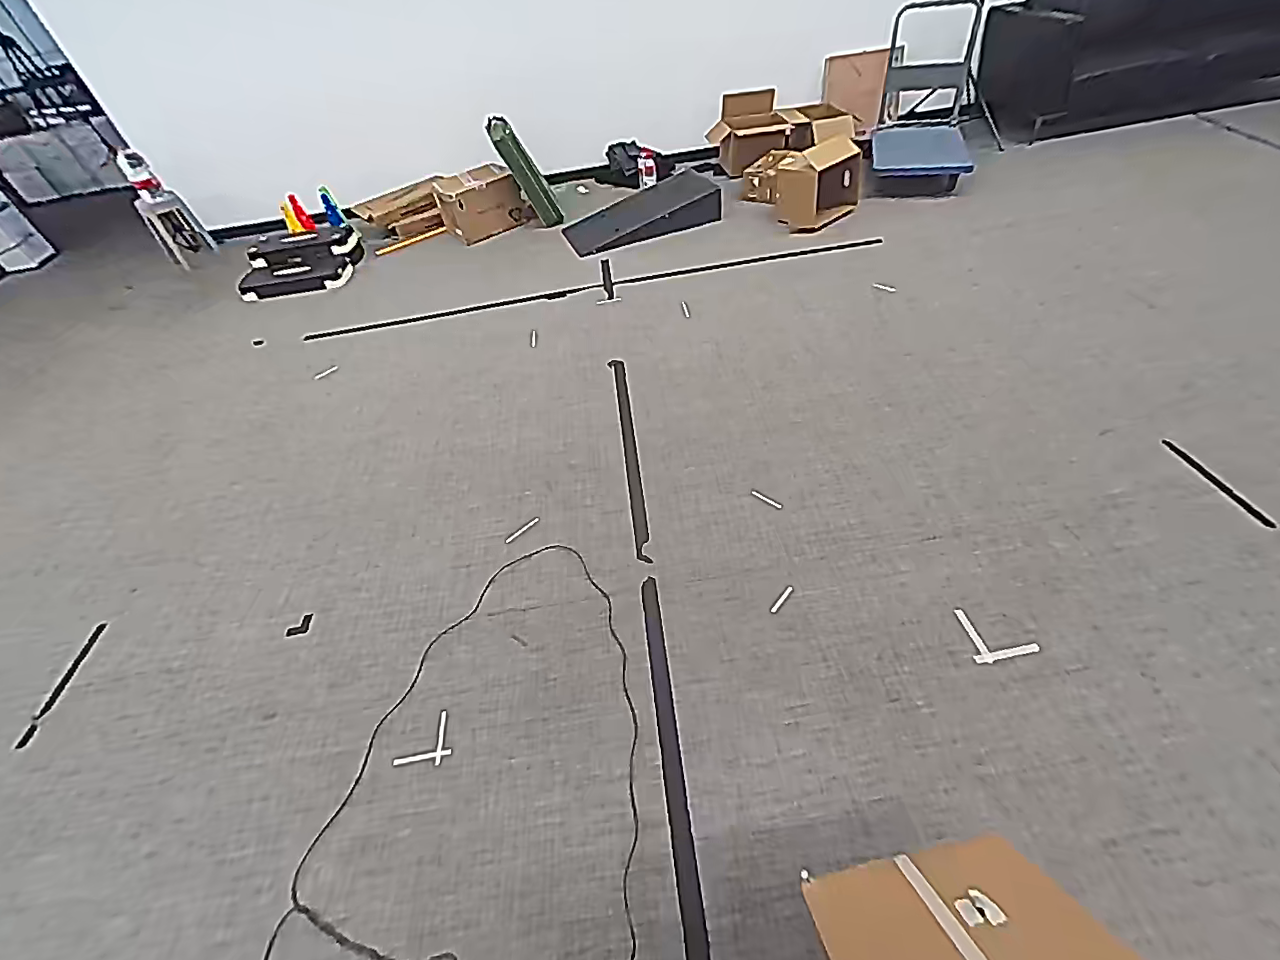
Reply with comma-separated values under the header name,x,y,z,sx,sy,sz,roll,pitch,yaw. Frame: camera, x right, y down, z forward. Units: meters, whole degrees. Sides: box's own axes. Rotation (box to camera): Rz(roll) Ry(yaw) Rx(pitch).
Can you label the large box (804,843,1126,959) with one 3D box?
name,x,y,z,sx,sy,sz,roll,pitch,yaw
large box,0.432,0.718,0.615,0.320,0.408,0.320,-13,84,0
